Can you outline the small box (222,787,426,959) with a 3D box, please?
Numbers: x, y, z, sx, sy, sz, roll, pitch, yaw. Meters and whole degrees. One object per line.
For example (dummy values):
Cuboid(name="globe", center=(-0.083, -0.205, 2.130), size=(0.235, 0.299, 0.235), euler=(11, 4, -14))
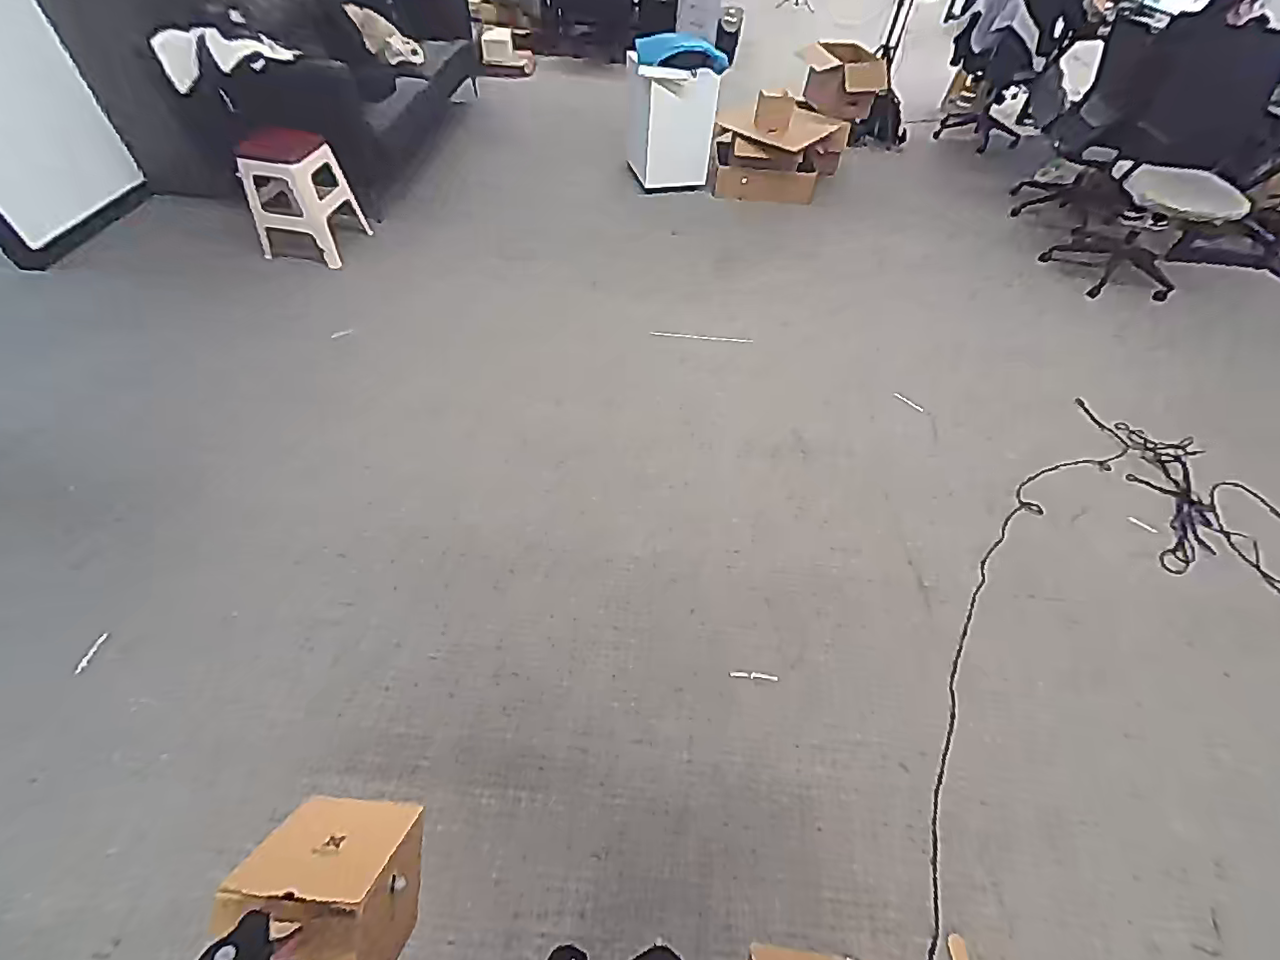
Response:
Cuboid(name="small box", center=(-0.396, 0.533, 0.691), size=(0.168, 0.179, 0.176), euler=(5, 94, 1))
